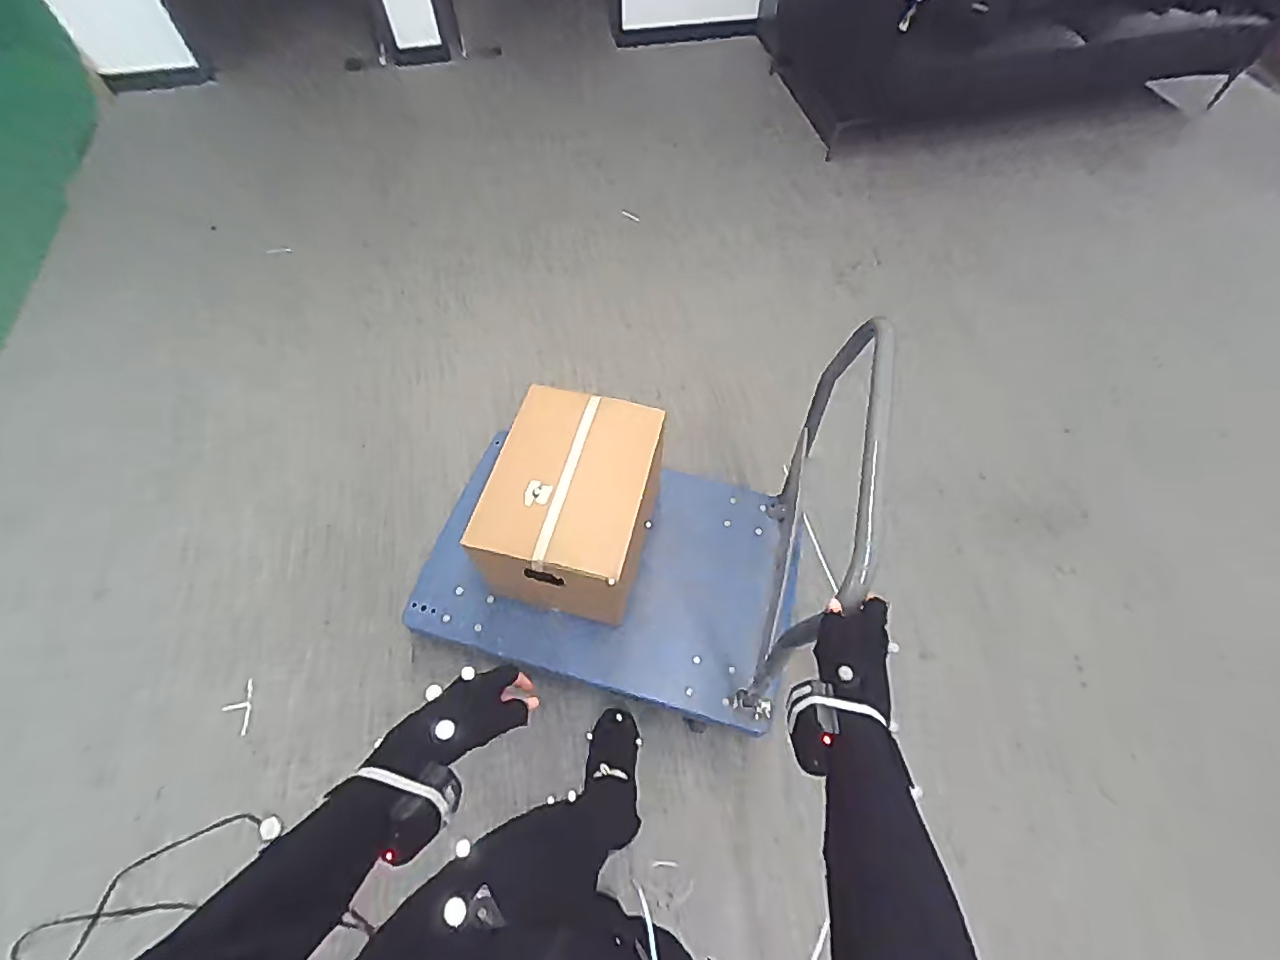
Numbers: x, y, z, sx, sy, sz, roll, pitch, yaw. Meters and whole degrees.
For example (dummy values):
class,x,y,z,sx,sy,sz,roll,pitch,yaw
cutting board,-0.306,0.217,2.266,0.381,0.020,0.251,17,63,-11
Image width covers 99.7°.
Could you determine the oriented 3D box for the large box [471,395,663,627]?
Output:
class,x,y,z,sx,sy,sz,roll,pitch,yaw
large box,-0.138,0.075,1.237,0.320,0.320,0.408,11,61,6
